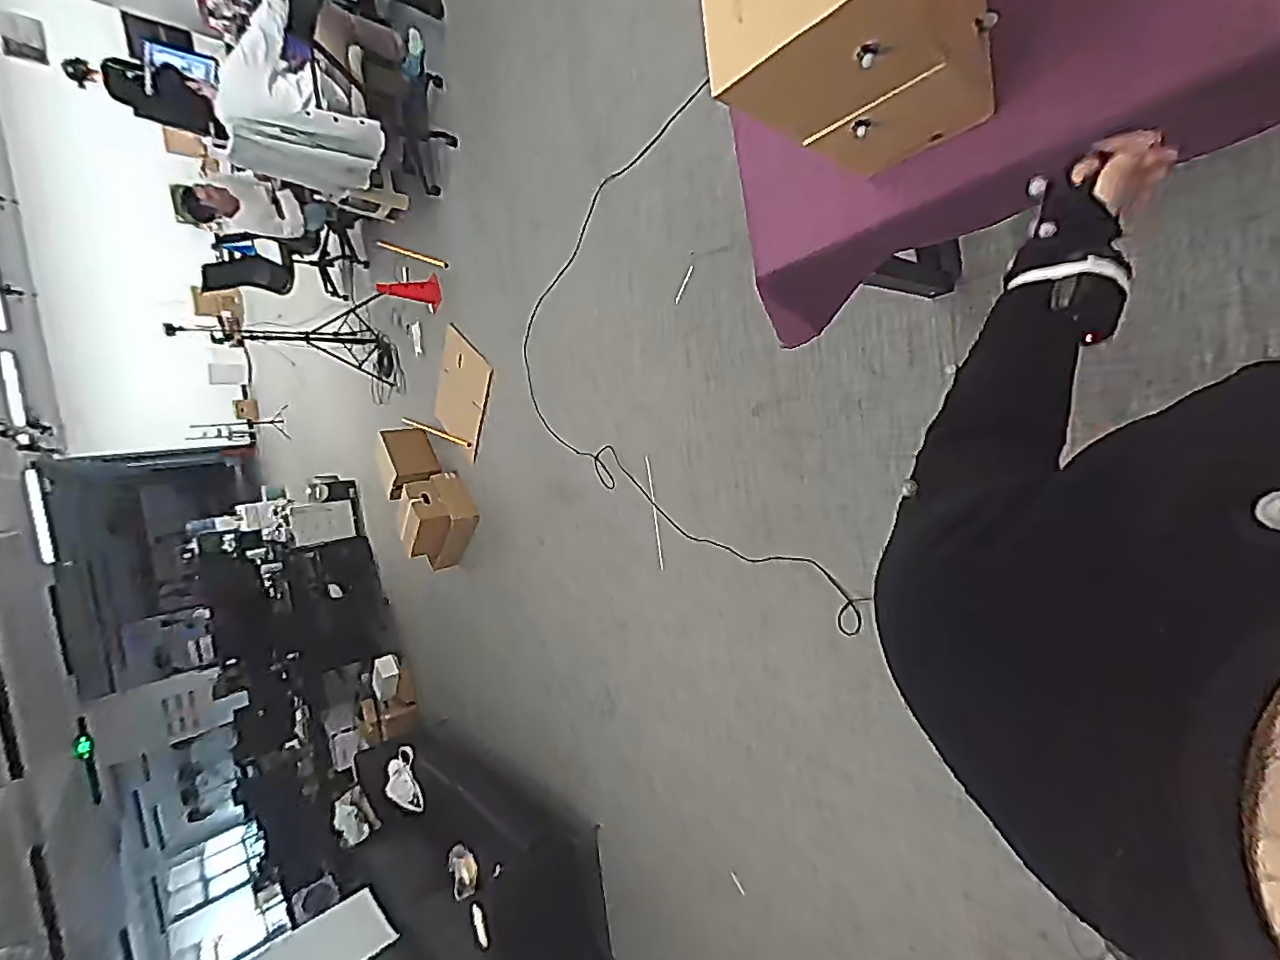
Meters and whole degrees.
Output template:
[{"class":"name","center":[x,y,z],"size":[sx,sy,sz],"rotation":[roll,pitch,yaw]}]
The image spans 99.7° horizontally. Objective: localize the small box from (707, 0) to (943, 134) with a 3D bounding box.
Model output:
[{"class":"small box","center":[0.188,-0.492,0.546],"size":[0.179,0.176,0.168],"rotation":[-1,97,49]}]

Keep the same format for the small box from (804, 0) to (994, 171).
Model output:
[{"class":"small box","center":[0.308,-0.514,0.655],"size":[0.168,0.176,0.179],"rotation":[-3,95,49]}]
